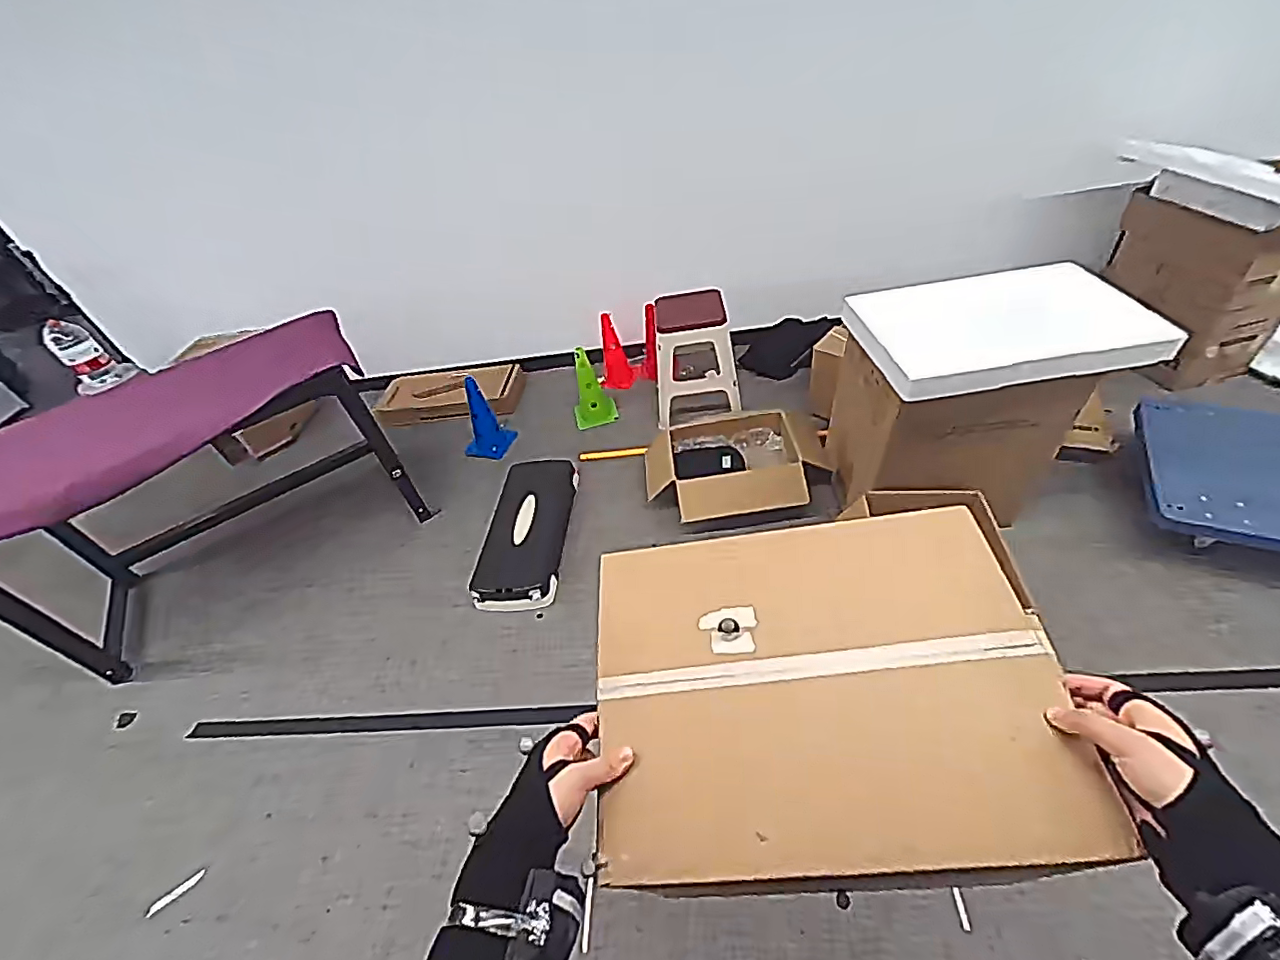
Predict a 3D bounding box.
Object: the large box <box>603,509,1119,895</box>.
[{"bbox_3d":[0.191,0.274,0.631,0.408,0.320,0.320,-10,48,9],"label":"large box"}]
